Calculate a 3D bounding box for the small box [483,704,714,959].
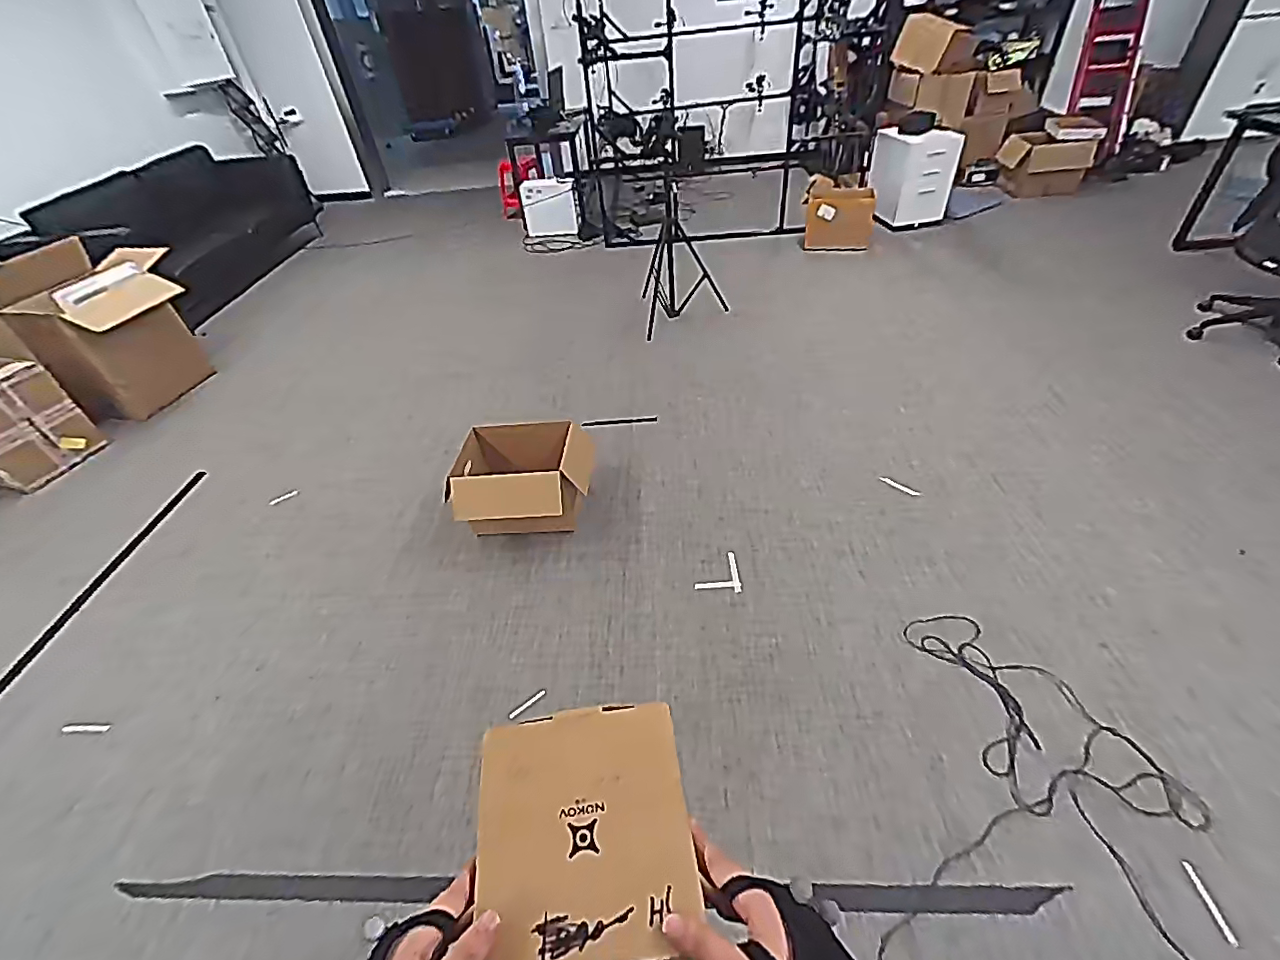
[{"bbox_3d":[-0.035,0.331,0.490,0.168,0.176,0.179,-7,47,-3],"label":"small box"}]
